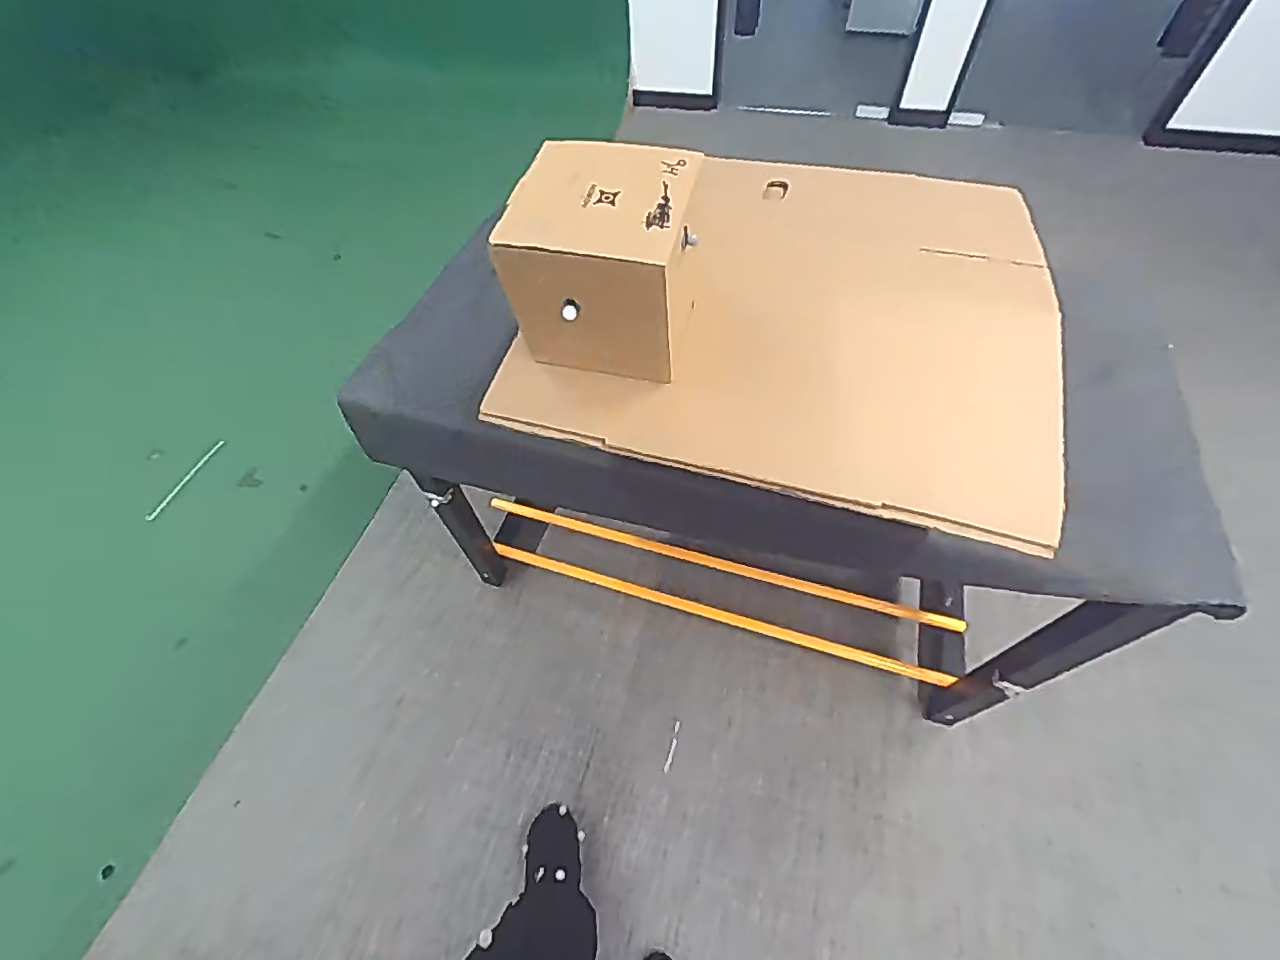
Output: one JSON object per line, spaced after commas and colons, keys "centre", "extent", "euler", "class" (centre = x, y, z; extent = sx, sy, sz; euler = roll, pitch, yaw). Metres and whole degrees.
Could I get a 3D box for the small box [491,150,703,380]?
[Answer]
{"centre": [-0.032, -0.232, 0.600], "extent": [0.179, 0.176, 0.168], "euler": [11, 64, 12], "class": "small box"}
